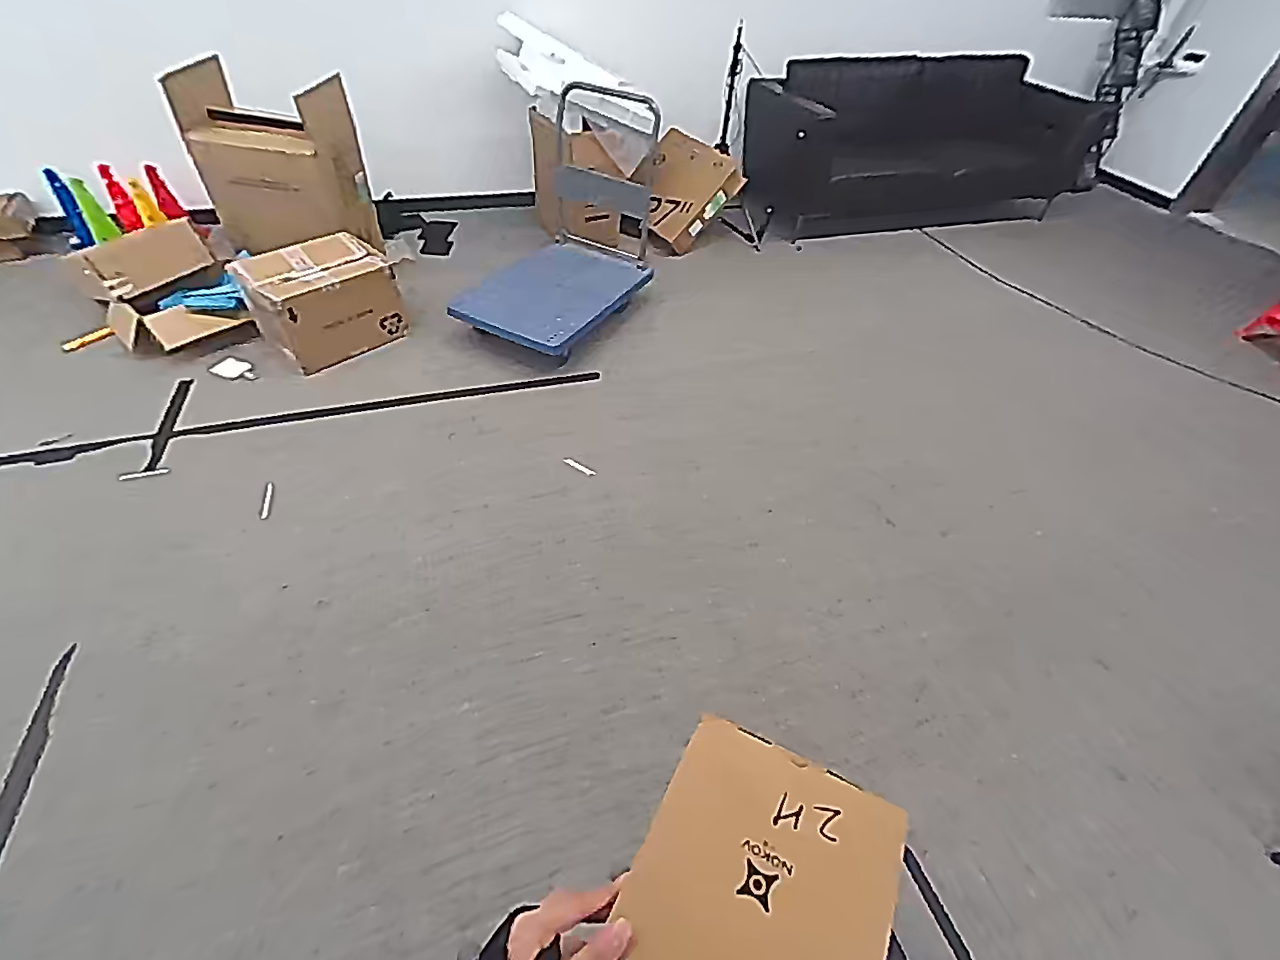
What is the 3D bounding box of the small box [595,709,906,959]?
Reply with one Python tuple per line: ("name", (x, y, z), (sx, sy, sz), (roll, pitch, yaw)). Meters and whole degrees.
("small box", (0.085, 0.327, 0.421), (0.168, 0.176, 0.179), (19, 45, 22))
